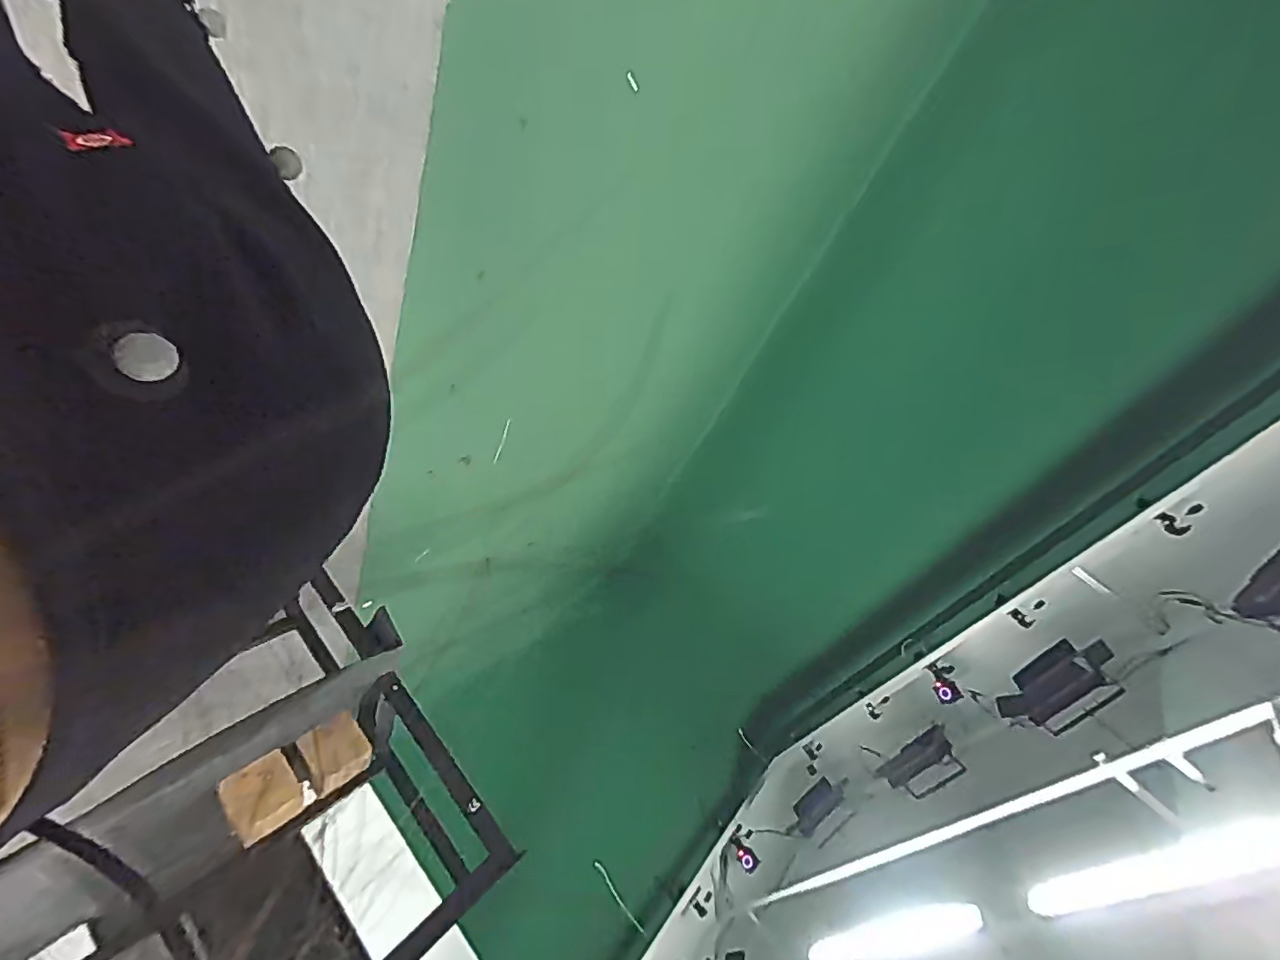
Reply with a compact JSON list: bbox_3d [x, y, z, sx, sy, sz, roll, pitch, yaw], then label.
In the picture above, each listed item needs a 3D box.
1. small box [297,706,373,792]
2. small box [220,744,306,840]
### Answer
[{"bbox_3d":[-1.021,0.893,1.805,0.168,0.176,0.179,-26,155,-46],"label":"small box"},{"bbox_3d":[-1.151,0.947,1.652,0.168,0.176,0.179,-25,154,-46],"label":"small box"}]
